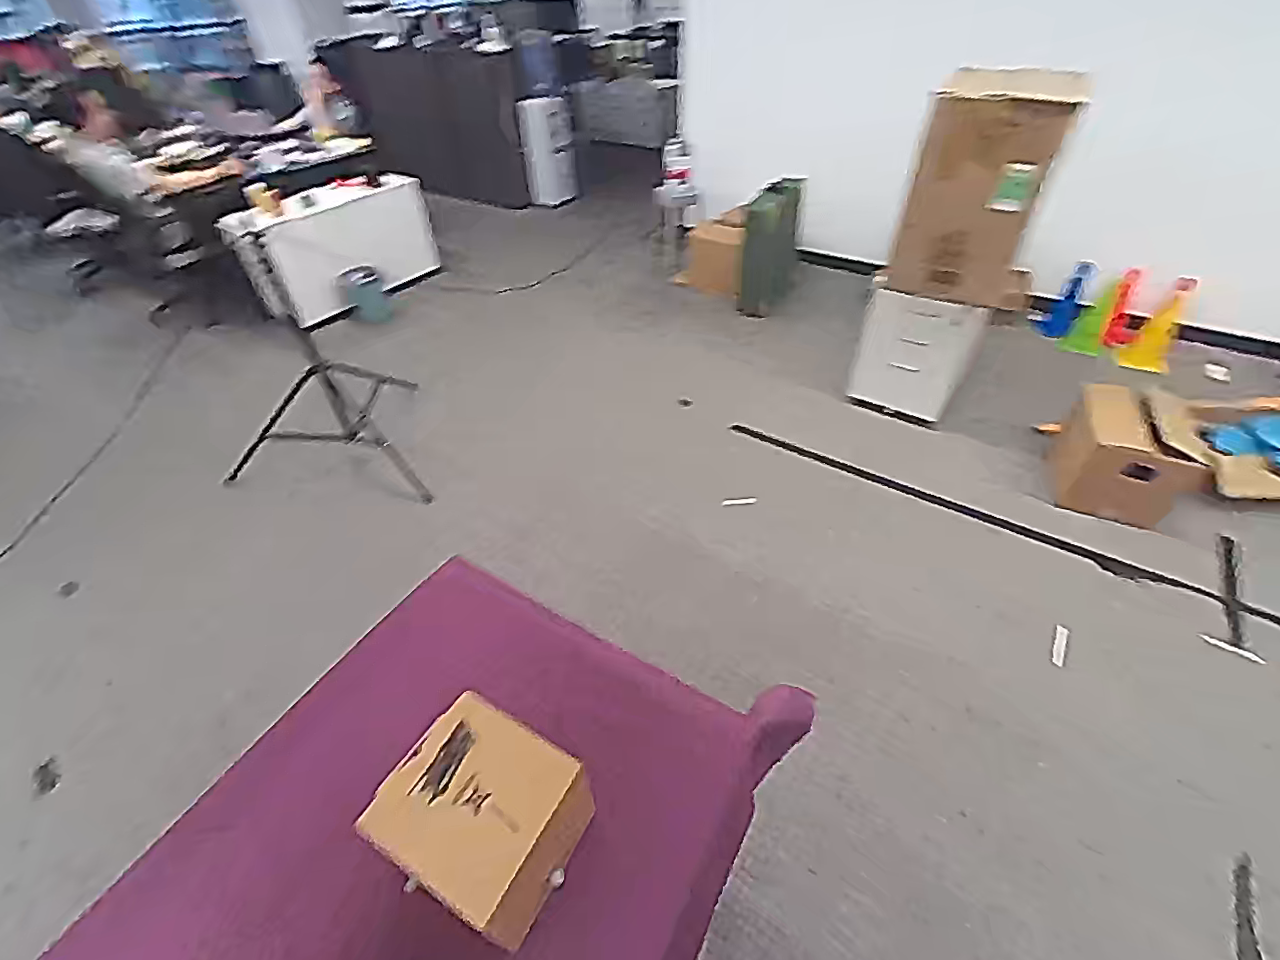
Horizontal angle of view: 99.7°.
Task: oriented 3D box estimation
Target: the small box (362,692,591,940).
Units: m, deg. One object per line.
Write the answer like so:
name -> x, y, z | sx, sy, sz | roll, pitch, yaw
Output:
small box -> -0.175, 0.391, 0.632 | 0.179, 0.176, 0.168 | 20, 48, 22
